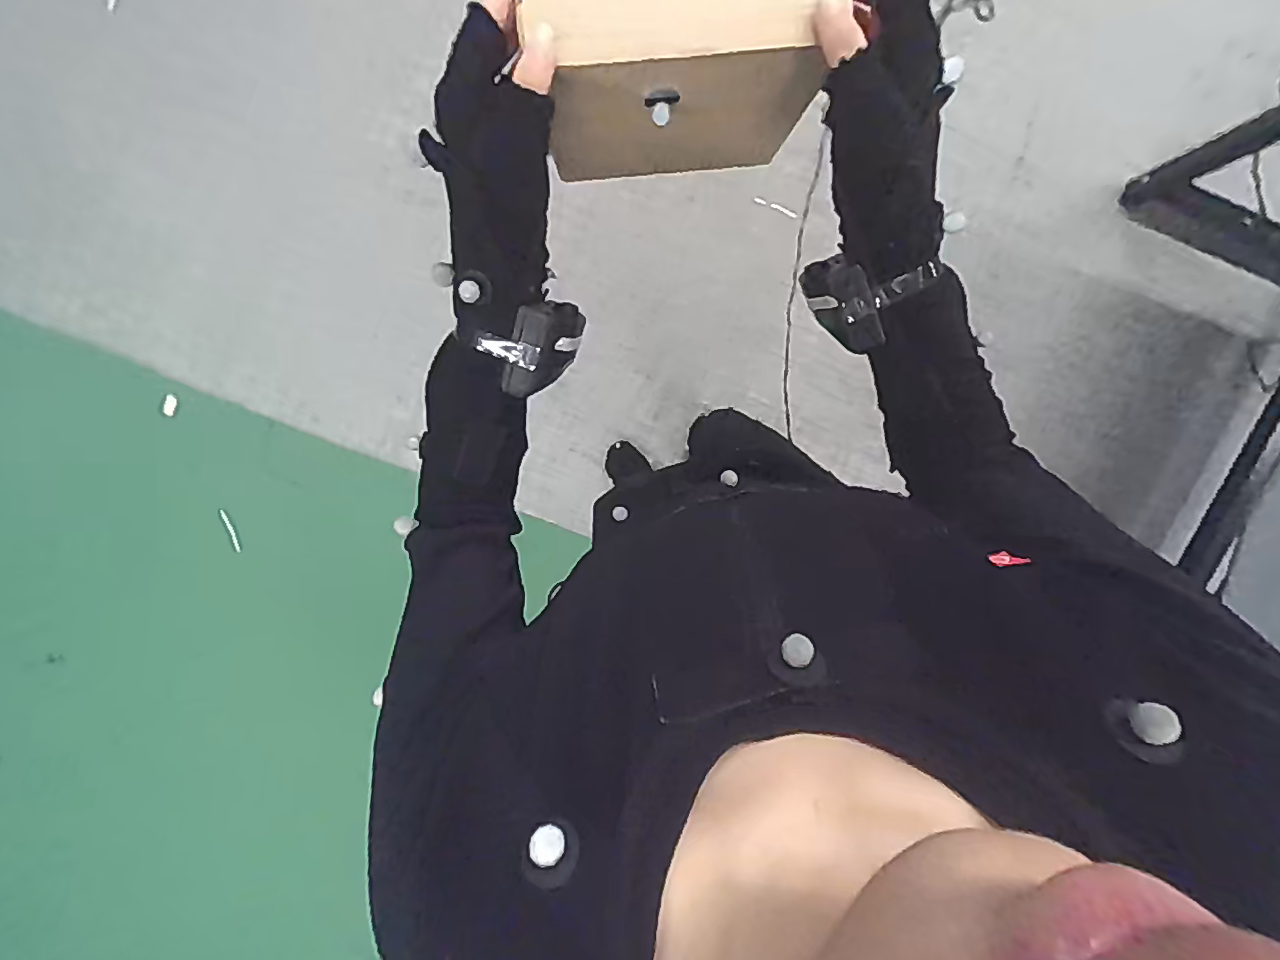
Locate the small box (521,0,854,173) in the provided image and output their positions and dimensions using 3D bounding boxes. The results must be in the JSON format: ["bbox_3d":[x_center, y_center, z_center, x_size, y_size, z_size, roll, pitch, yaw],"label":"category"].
[{"bbox_3d":[0.020,-0.319,0.351,0.179,0.176,0.168,-5,101,0],"label":"small box"}]
